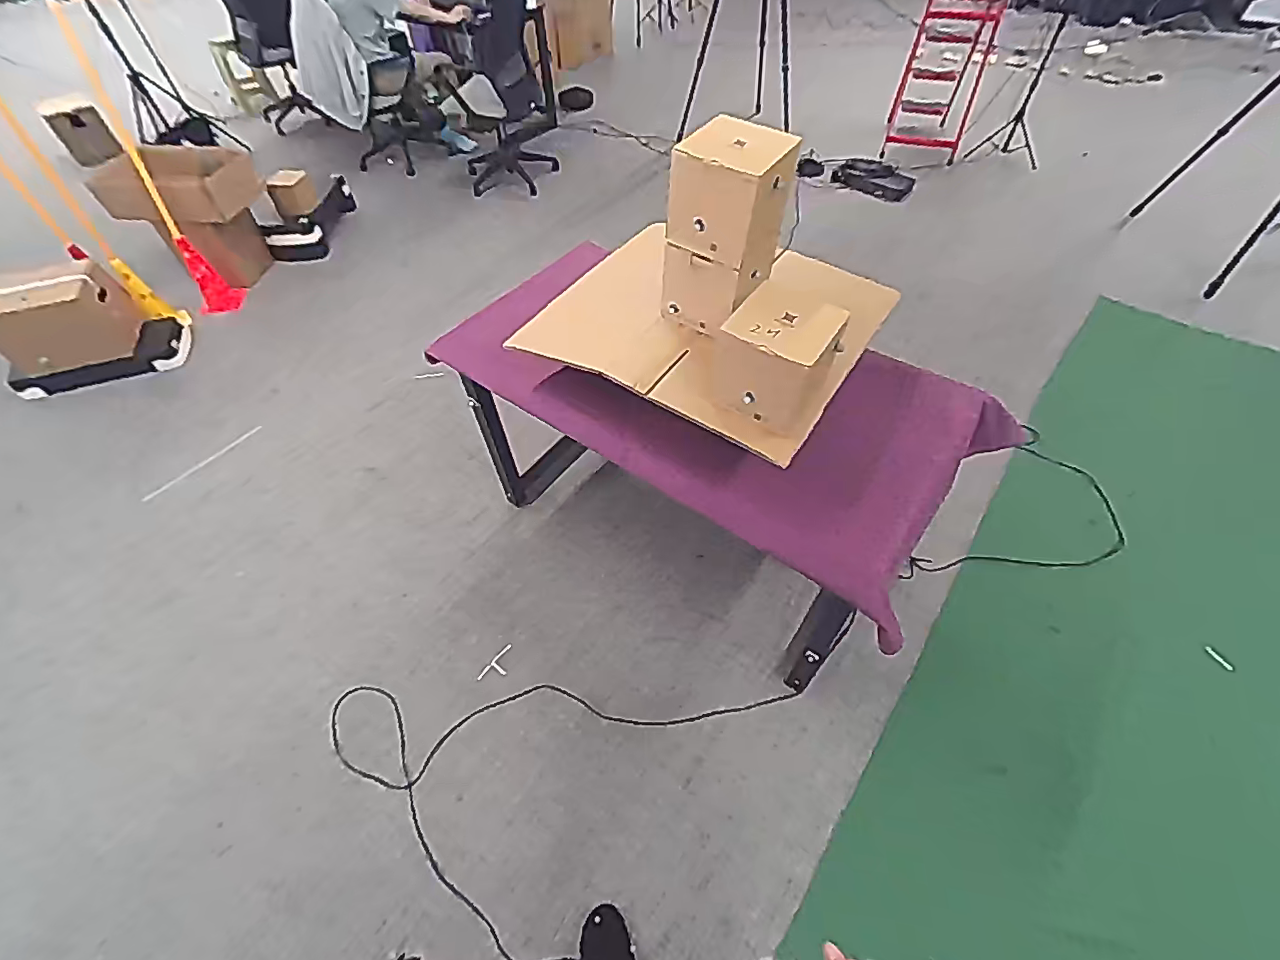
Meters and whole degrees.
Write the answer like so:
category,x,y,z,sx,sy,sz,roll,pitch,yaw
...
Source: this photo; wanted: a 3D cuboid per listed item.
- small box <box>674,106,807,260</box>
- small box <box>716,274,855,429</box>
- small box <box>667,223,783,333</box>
category,x,y,z,sx,sy,sz,roll,pitch,yaw
small box,0.173,-0.533,0.978,0.168,0.176,0.179,29,60,17
small box,0.248,-0.227,0.961,0.168,0.176,0.179,30,60,20
small box,0.167,-0.433,1.106,0.168,0.176,0.179,30,59,18
